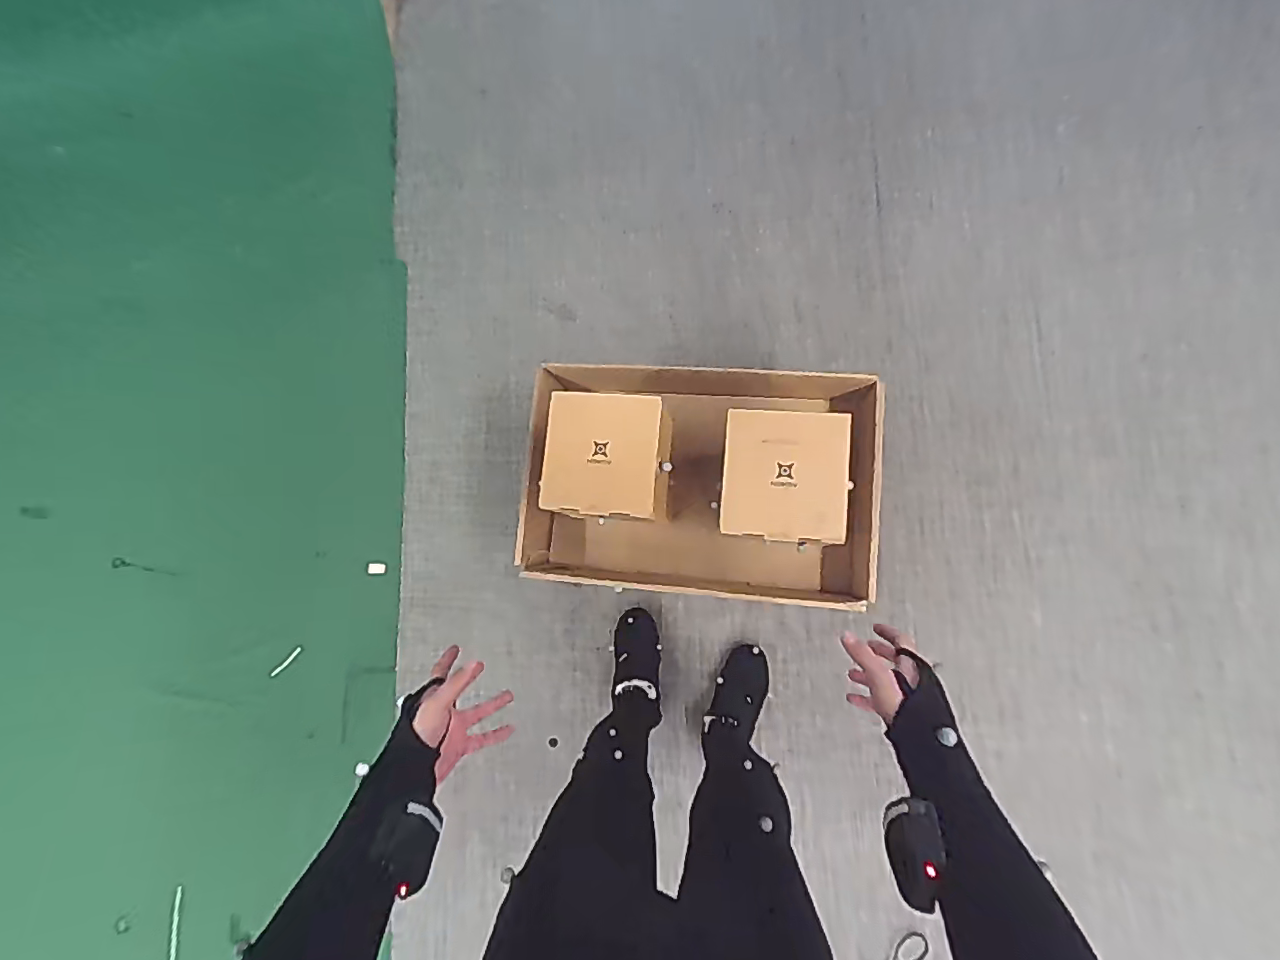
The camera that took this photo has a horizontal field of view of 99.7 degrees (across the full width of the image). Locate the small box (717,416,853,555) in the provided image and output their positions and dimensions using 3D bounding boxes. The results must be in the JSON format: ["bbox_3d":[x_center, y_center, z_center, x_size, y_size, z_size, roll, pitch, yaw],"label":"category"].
[{"bbox_3d":[0.204,0.015,0.791,0.168,0.176,0.179,5,82,9],"label":"small box"}]

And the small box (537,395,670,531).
[{"bbox_3d":[-0.047,-0.019,0.839,0.168,0.176,0.179,5,83,9],"label":"small box"}]

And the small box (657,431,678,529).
[{"bbox_3d":[-0.030,0.000,1.001,0.179,0.176,0.168,6,83,9],"label":"small box"}]
